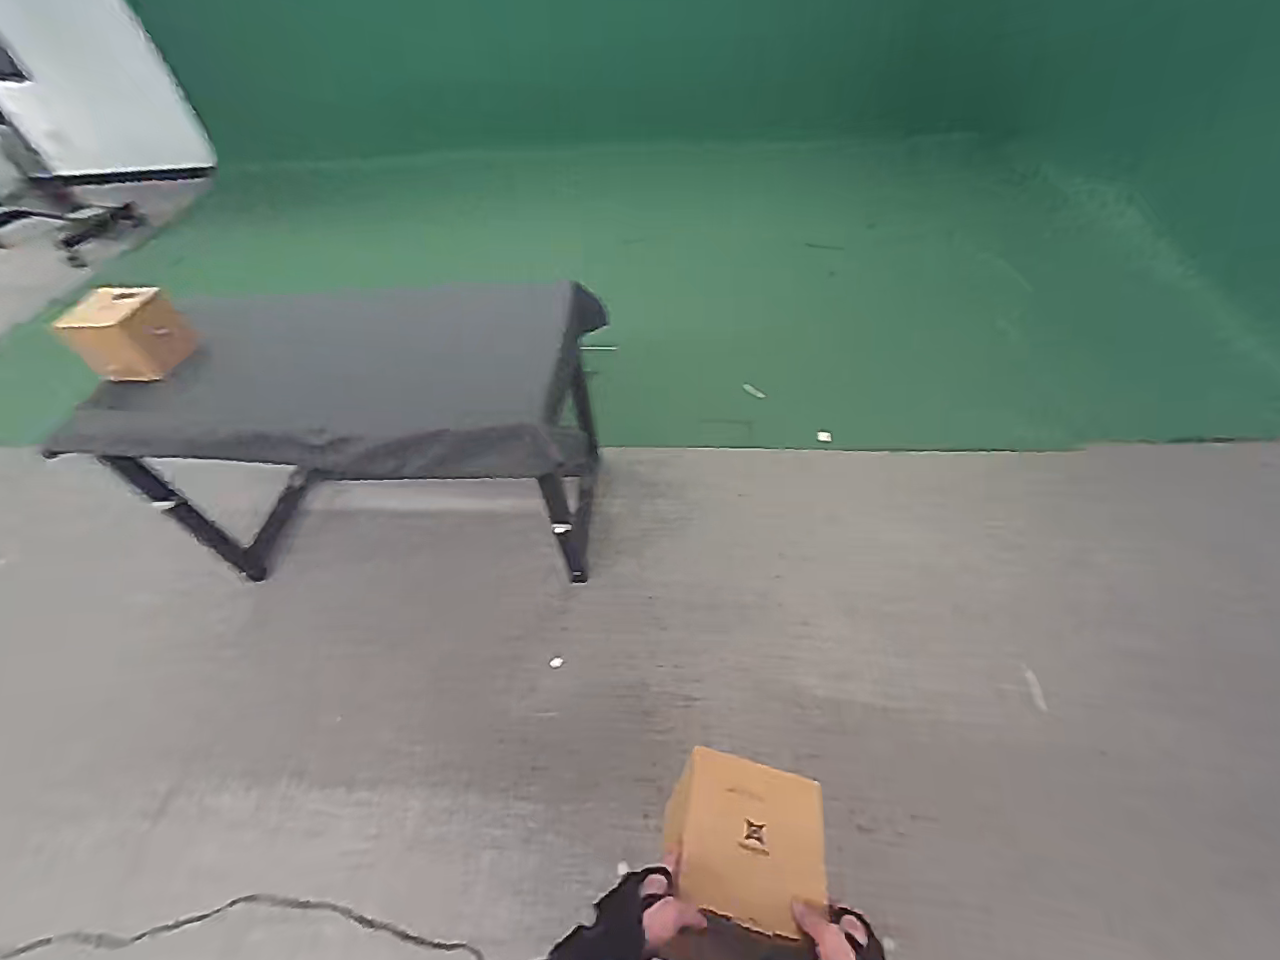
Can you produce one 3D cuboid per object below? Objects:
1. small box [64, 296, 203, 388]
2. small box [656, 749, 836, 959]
[{"bbox_3d":[-1.307,-0.361,1.417,0.168,0.176,0.179,0,50,6],"label":"small box"},{"bbox_3d":[0.122,0.477,0.667,0.168,0.176,0.179,15,33,2],"label":"small box"}]
